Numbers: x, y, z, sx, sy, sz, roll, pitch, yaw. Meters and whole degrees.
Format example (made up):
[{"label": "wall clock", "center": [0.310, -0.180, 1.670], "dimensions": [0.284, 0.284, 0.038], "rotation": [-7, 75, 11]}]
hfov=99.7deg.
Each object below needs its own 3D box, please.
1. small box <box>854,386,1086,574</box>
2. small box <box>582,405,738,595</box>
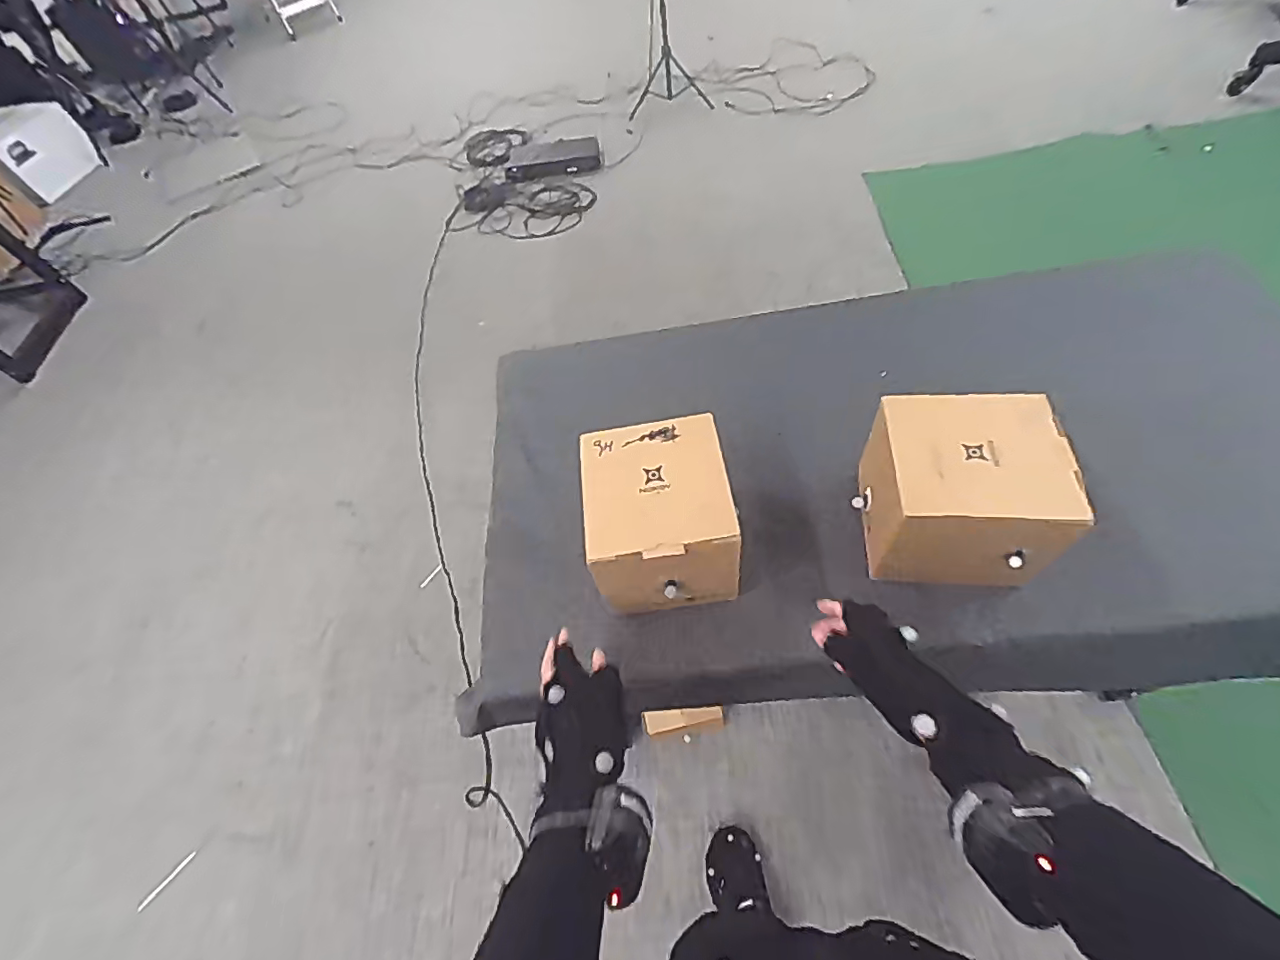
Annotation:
[{"label": "small box", "center": [0.372, 0.005, 0.650], "dimensions": [0.179, 0.176, 0.168], "rotation": [0, 57, 10]}, {"label": "small box", "center": [0.027, 0.035, 0.681], "dimensions": [0.168, 0.176, 0.179], "rotation": [-9, 57, 2]}]
